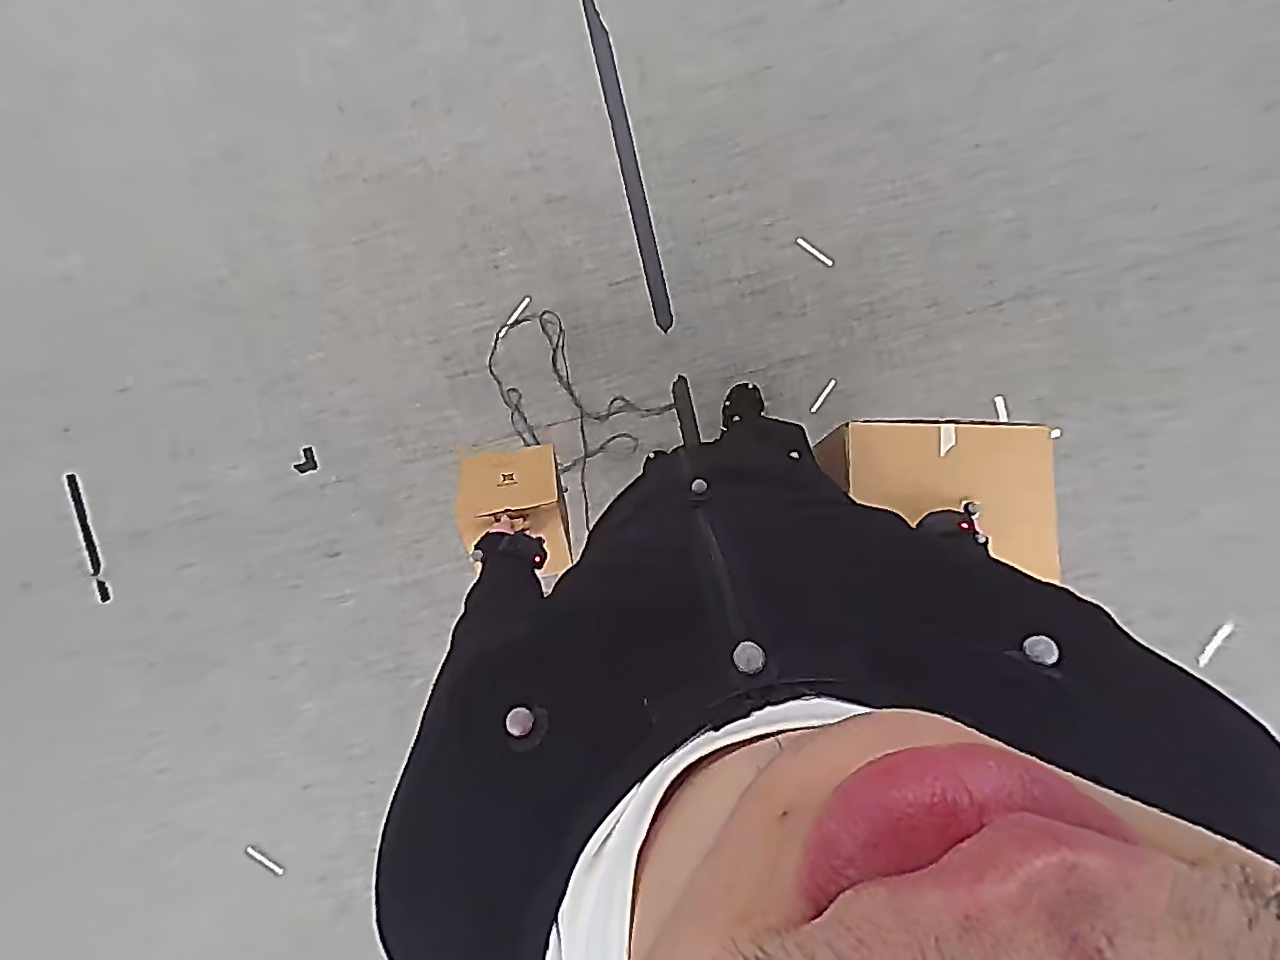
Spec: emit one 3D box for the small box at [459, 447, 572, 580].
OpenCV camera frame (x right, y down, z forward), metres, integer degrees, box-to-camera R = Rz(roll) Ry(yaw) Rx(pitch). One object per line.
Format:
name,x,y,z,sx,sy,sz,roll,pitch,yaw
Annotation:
small box,-0.221,0.065,0.991,0.168,0.179,0.176,-10,127,-6
